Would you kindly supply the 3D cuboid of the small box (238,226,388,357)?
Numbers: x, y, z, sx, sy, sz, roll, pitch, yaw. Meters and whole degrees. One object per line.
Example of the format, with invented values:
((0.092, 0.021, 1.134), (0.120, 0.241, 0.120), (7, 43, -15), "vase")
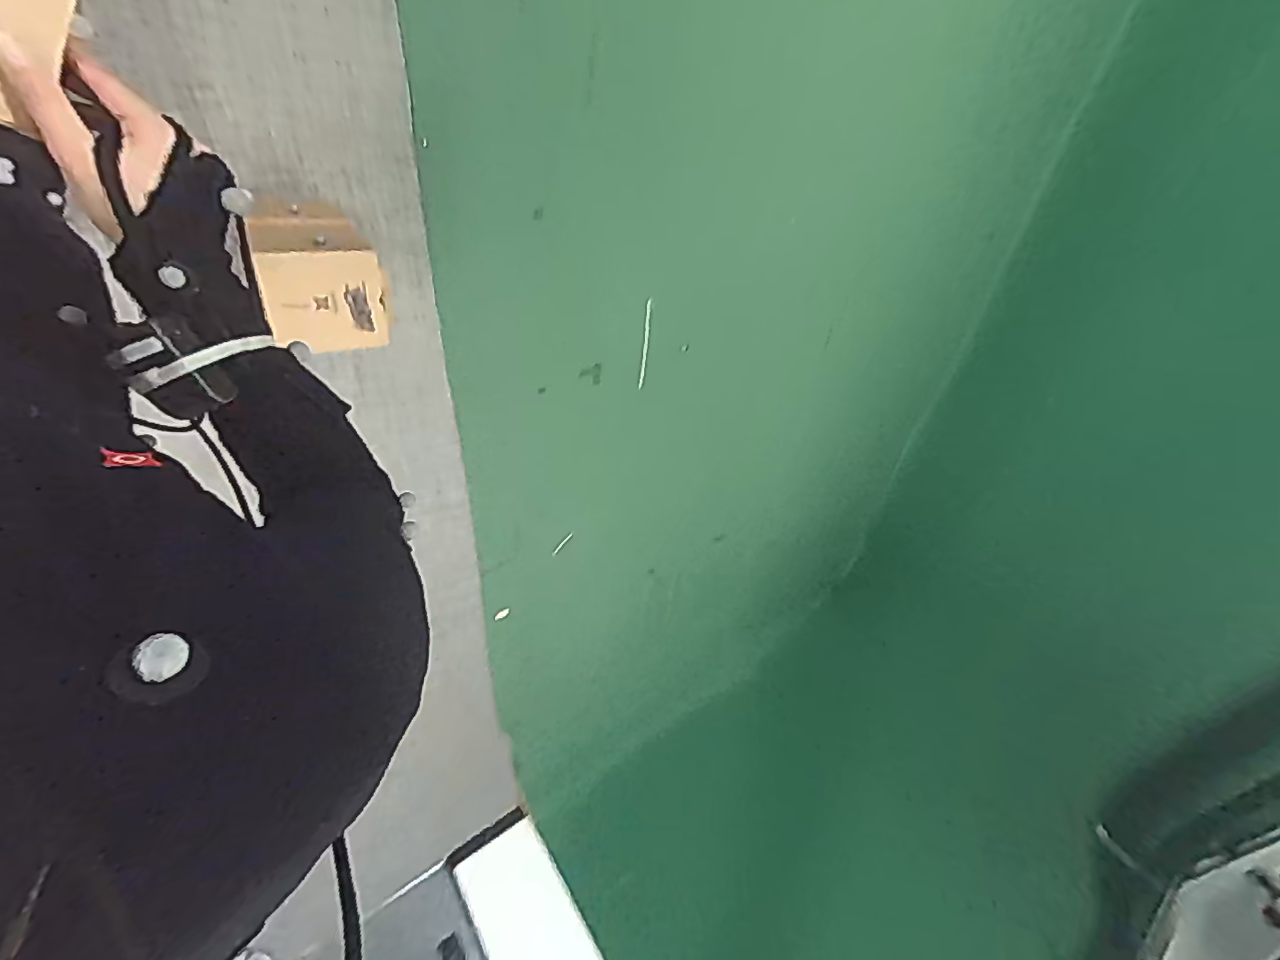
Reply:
((-0.557, -0.329, 0.927), (0.179, 0.176, 0.168), (-17, 133, -33), "small box")

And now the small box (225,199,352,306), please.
((-0.651, -0.424, 1.023), (0.179, 0.176, 0.168), (-16, 133, -33), "small box")
